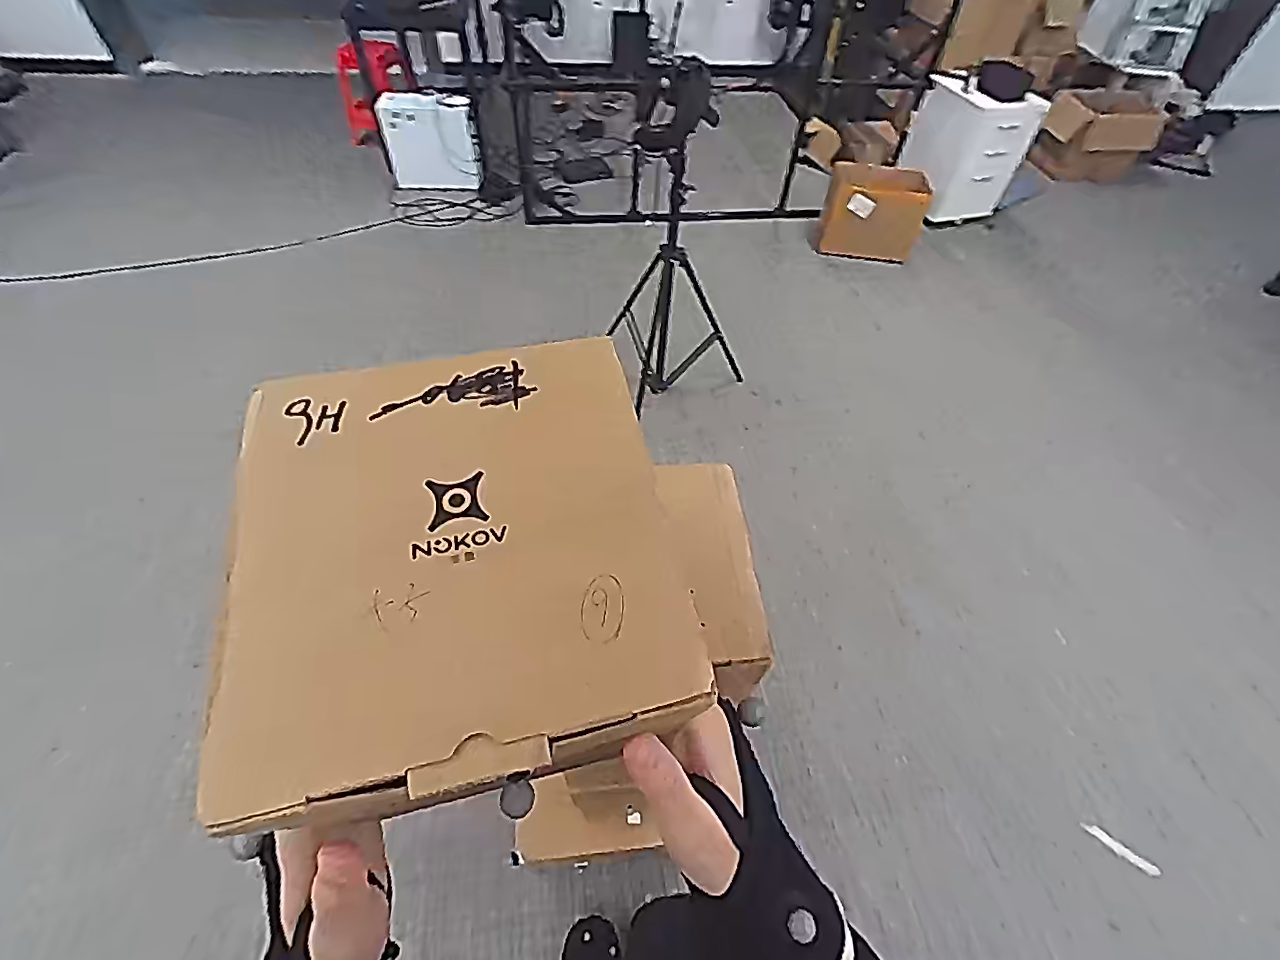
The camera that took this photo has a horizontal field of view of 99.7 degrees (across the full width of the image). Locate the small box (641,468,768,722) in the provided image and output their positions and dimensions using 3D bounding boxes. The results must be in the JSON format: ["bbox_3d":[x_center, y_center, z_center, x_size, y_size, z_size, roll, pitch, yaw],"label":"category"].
[{"bbox_3d":[0.001,0.110,0.480,0.168,0.176,0.179,-2,52,-4],"label":"small box"}]

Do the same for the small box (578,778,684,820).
[{"bbox_3d":[-0.025,0.513,0.996,0.179,0.176,0.168,-4,54,-8],"label":"small box"}]

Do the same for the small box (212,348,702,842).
[{"bbox_3d":[-0.079,0.061,0.287,0.168,0.176,0.179,-11,61,-10],"label":"small box"}]

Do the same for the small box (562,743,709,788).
[{"bbox_3d":[-0.014,0.311,0.737,0.179,0.176,0.168,-2,52,-5],"label":"small box"}]

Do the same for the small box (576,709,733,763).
[{"bbox_3d":[-0.008,0.211,0.610,0.179,0.176,0.168,-2,53,-4],"label":"small box"}]
